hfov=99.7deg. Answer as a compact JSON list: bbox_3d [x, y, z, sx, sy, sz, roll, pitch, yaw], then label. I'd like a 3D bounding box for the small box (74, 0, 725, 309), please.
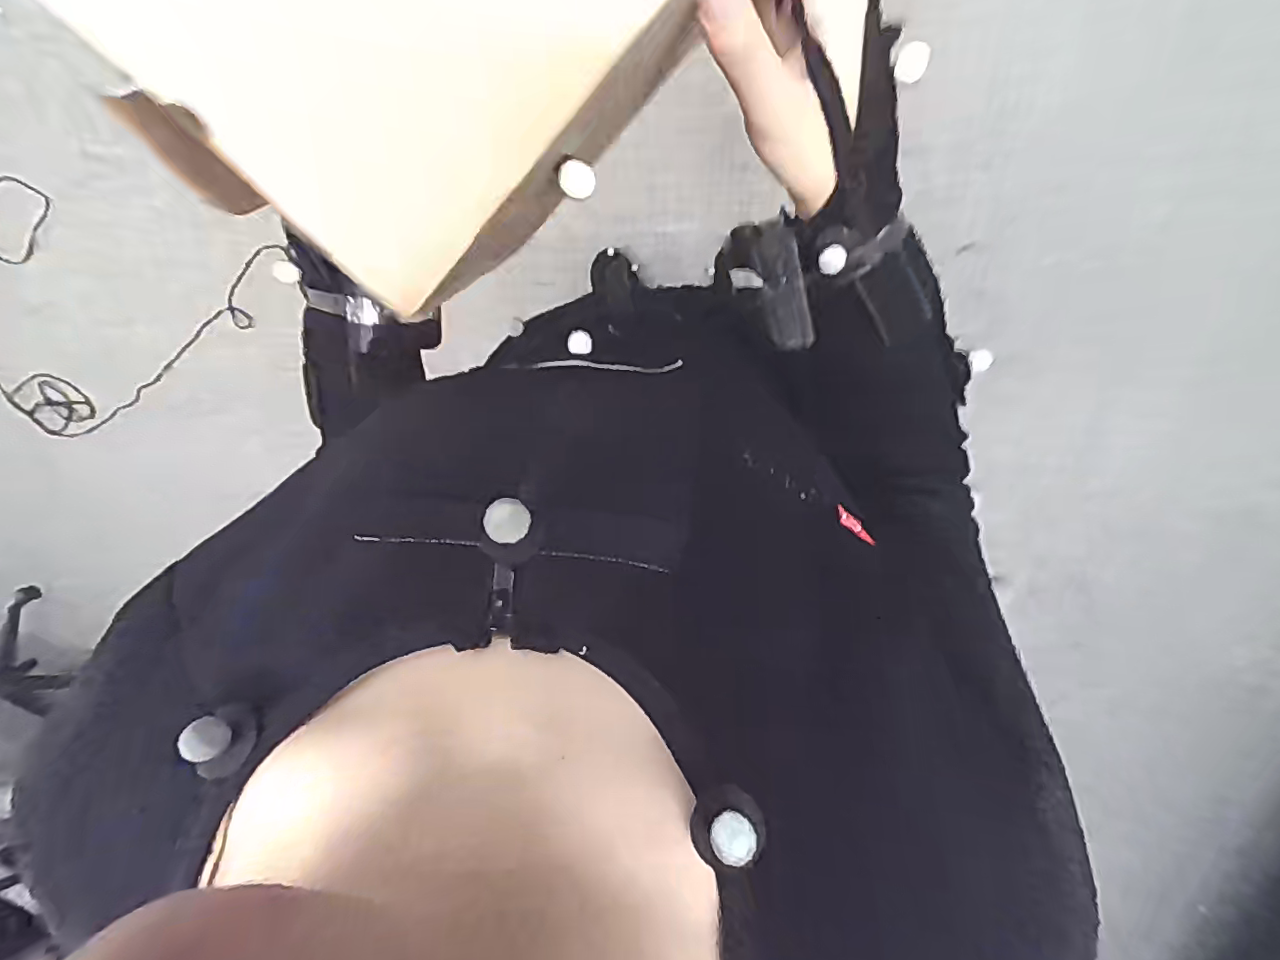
[{"bbox_3d":[-0.073,-0.203,0.219,0.179,0.176,0.168,-39,111,21],"label":"small box"}]
